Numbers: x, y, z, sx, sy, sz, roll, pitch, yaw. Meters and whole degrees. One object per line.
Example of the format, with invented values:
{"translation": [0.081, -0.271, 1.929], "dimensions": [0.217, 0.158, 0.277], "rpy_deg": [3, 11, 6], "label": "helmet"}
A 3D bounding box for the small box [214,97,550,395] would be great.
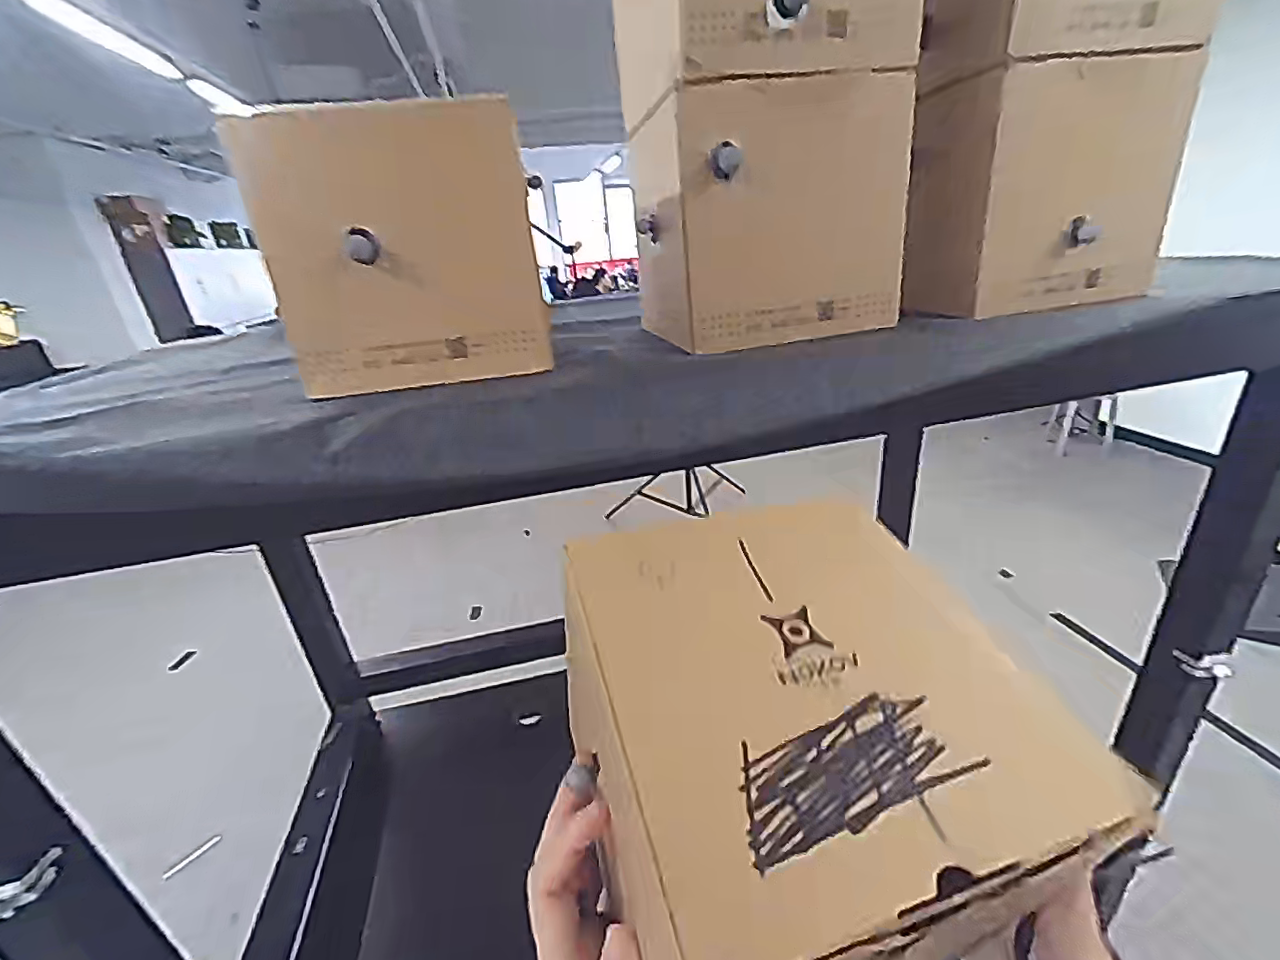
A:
{"translation": [-0.164, -0.167, 0.416], "dimensions": [0.168, 0.176, 0.179], "rpy_deg": [-9, 23, -7], "label": "small box"}

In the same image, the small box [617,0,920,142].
{"translation": [0.077, -0.358, 0.388], "dimensions": [0.168, 0.176, 0.179], "rpy_deg": [-11, 24, -10], "label": "small box"}

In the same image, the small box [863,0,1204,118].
{"translation": [0.293, -0.394, 0.412], "dimensions": [0.168, 0.176, 0.179], "rpy_deg": [-9, 24, -8], "label": "small box"}

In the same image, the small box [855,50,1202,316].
{"translation": [0.308, -0.243, 0.476], "dimensions": [0.168, 0.176, 0.179], "rpy_deg": [-11, 24, -8], "label": "small box"}

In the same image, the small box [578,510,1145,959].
{"translation": [0.066, 0.141, 0.272], "dimensions": [0.168, 0.176, 0.179], "rpy_deg": [-6, 36, -15], "label": "small box"}
